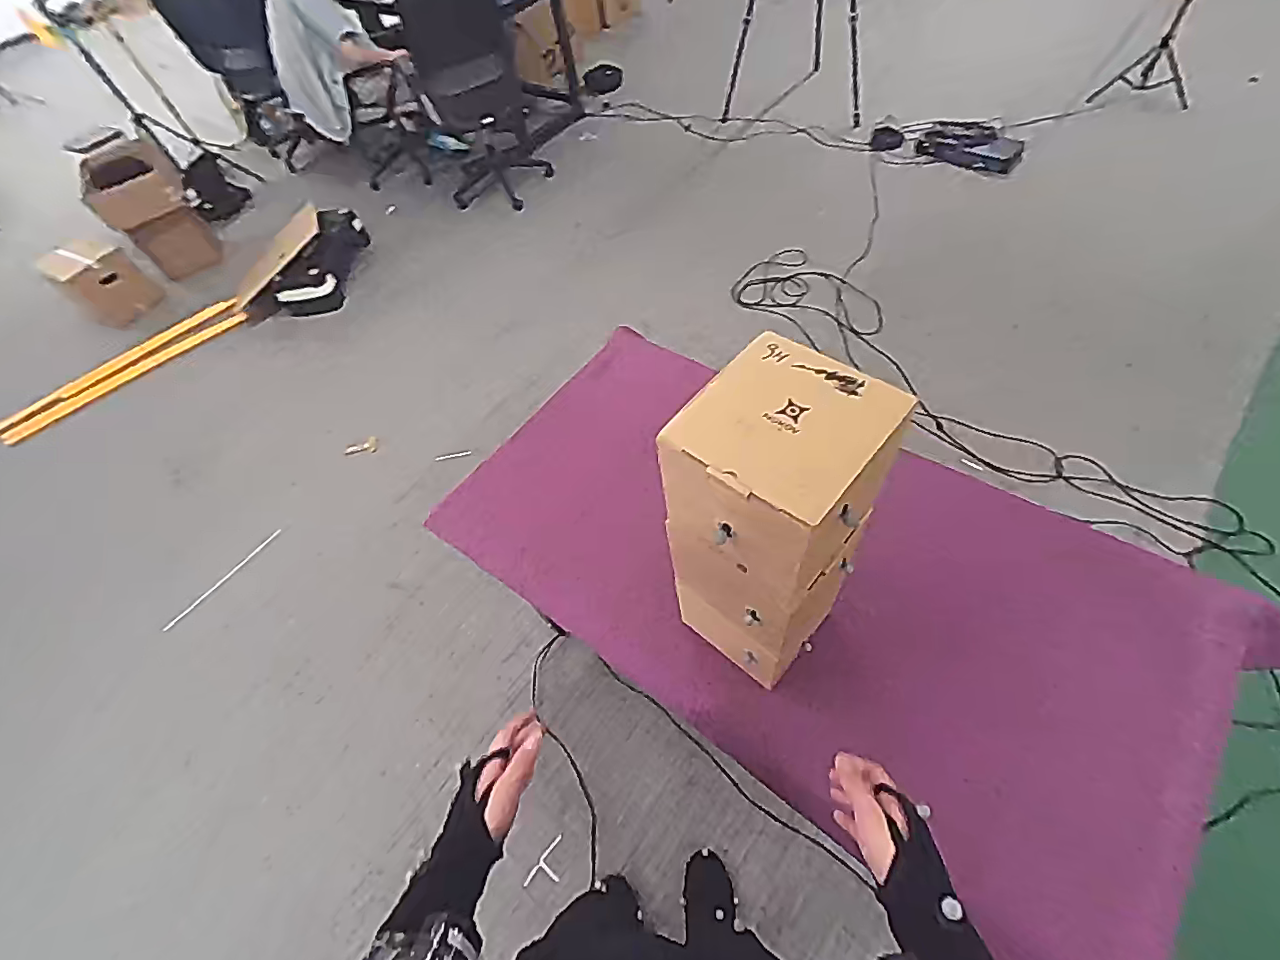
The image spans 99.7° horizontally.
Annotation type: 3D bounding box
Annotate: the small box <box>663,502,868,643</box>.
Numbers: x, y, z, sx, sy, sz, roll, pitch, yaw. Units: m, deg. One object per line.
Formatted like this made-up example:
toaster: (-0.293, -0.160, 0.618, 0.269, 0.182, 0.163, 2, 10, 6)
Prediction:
small box: (0.153, 0.083, 0.687, 0.179, 0.176, 0.168, 34, 67, 28)

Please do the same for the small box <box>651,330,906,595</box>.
small box: (0.136, -0.013, 0.556, 0.168, 0.176, 0.179, 34, 67, 27)
